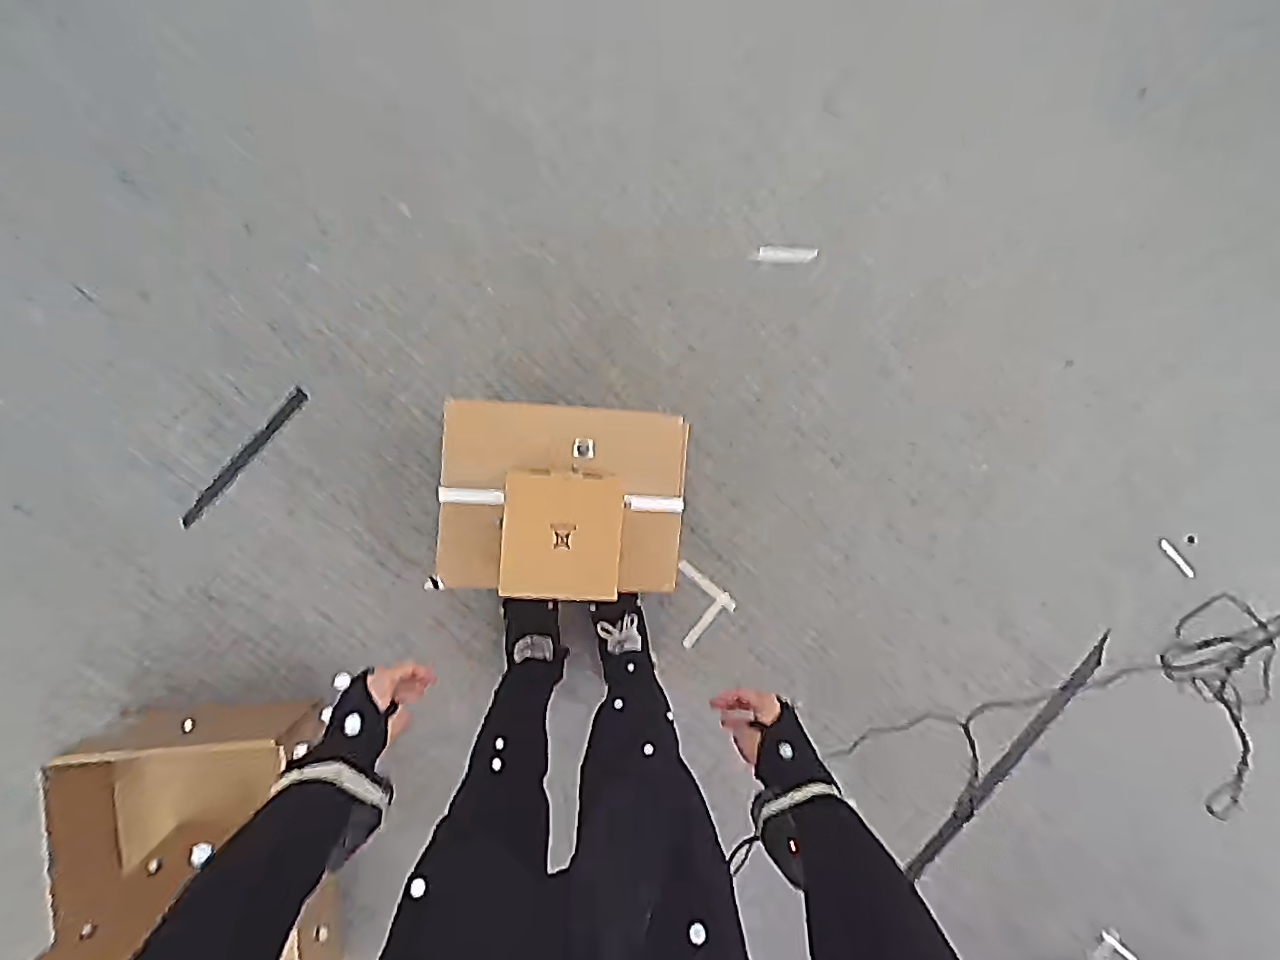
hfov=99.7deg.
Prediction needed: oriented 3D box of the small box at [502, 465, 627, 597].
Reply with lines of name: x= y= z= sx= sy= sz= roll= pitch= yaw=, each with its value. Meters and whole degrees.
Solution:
small box: x=-0.114 y=0.071 z=0.831 sx=0.168 sy=0.176 sz=0.179 roll=3 pitch=92 yaw=-8
